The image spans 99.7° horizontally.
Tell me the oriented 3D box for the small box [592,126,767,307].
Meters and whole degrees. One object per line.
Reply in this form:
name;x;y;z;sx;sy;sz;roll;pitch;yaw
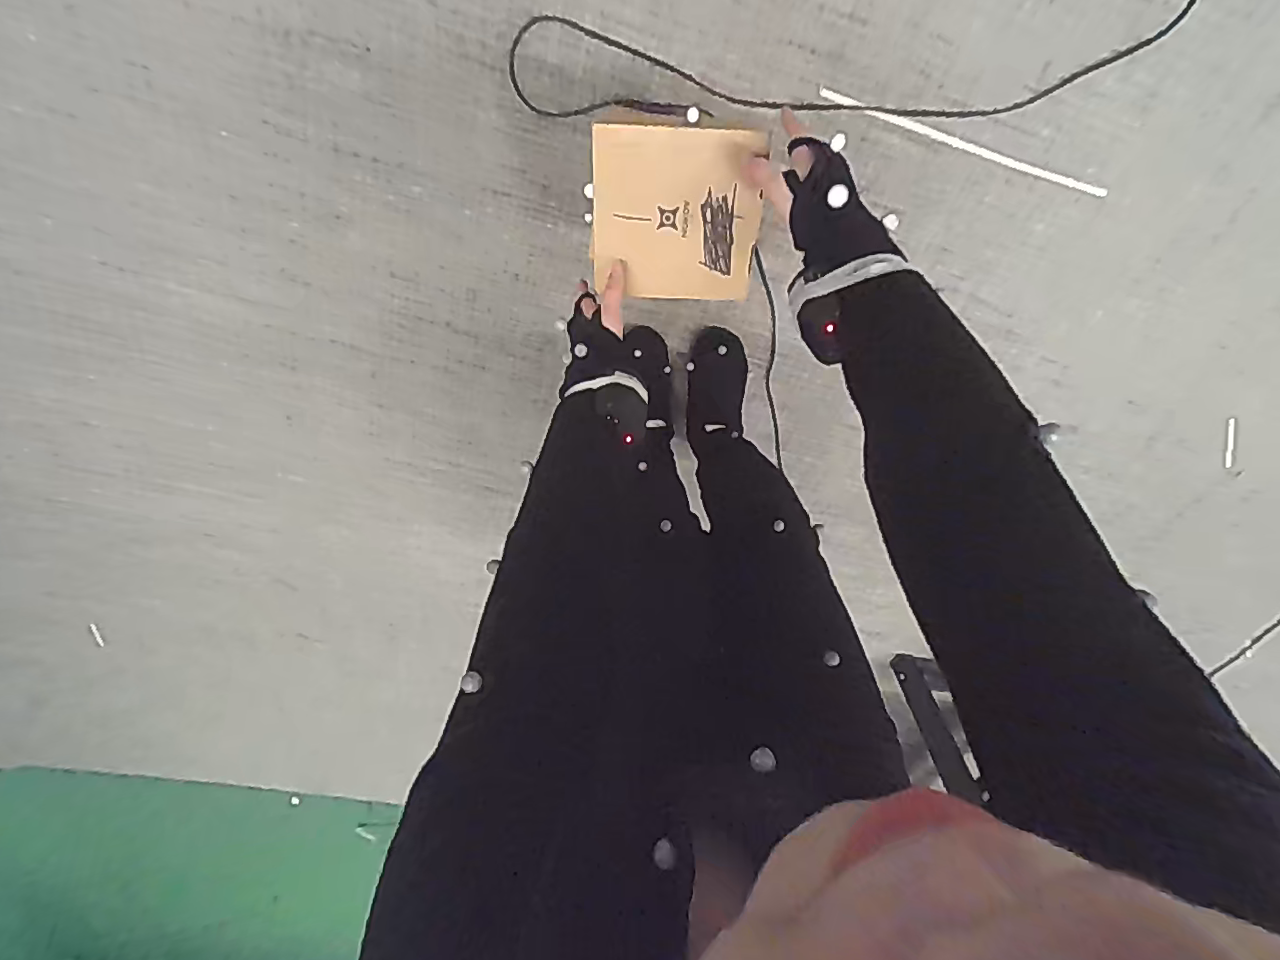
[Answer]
small box;0.038;-0.316;0.642;0.179;0.176;0.168;2;126;0
